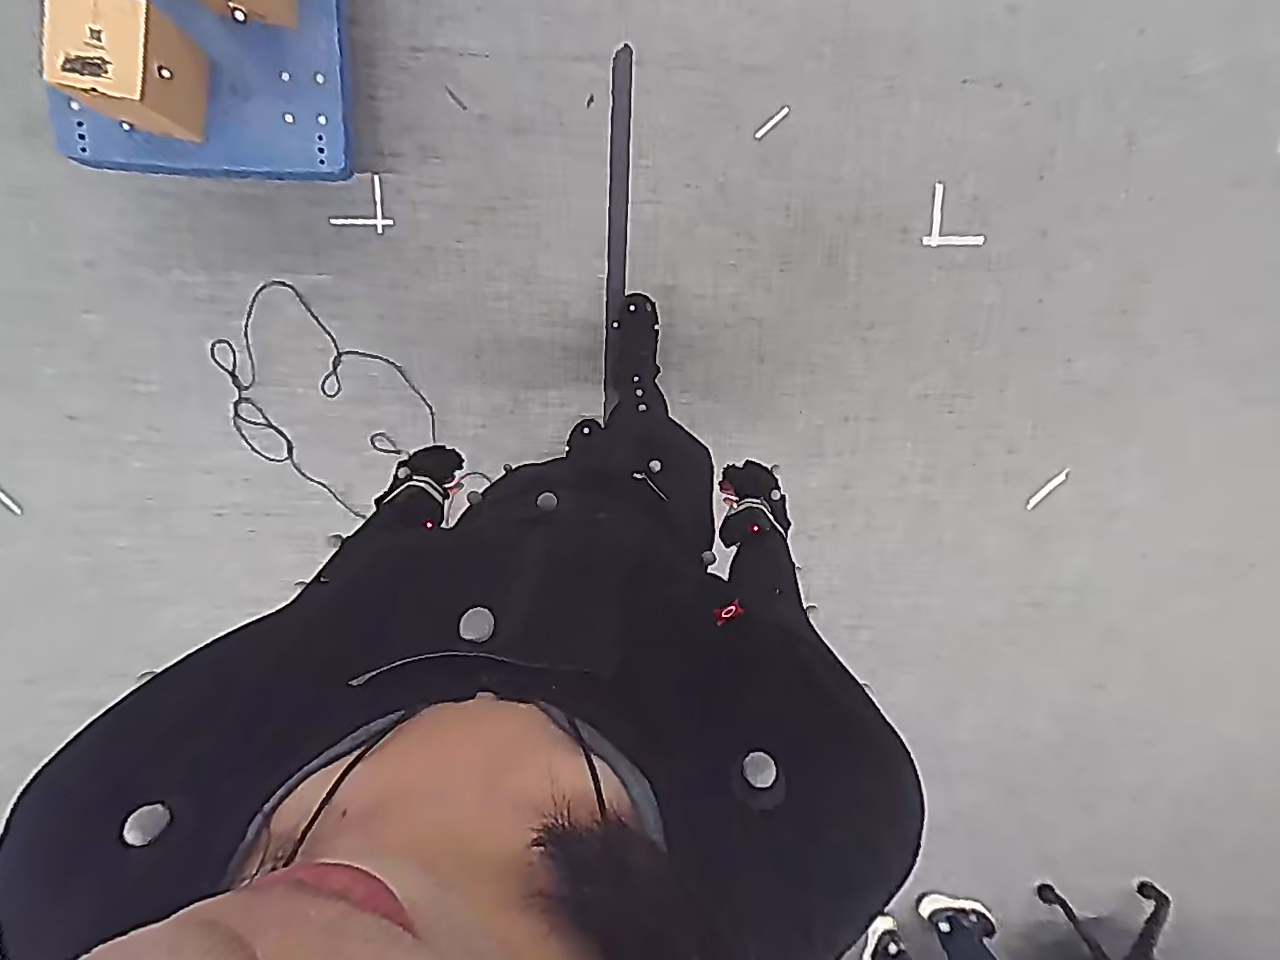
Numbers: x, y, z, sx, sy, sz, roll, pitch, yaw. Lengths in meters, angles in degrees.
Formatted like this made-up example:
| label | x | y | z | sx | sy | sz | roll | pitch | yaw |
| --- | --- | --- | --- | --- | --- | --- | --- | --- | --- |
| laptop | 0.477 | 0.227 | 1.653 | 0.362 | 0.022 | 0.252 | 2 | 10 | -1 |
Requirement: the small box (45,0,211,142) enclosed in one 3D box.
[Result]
| label | x | y | z | sx | sy | sz | roll | pitch | yaw |
| --- | --- | --- | --- | --- | --- | --- | --- | --- | --- |
| small box | -0.975 | -0.792 | 1.044 | 0.168 | 0.176 | 0.179 | 11 | 97 | -6 |

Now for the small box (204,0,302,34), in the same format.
| label | x | y | z | sx | sy | sz | roll | pitch | yaw |
| --- | --- | --- | --- | --- | --- | --- | --- | --- | --- |
| small box | -0.769 | -1.007 | 1.026 | 0.168 | 0.176 | 0.179 | 7 | 100 | -4 |
